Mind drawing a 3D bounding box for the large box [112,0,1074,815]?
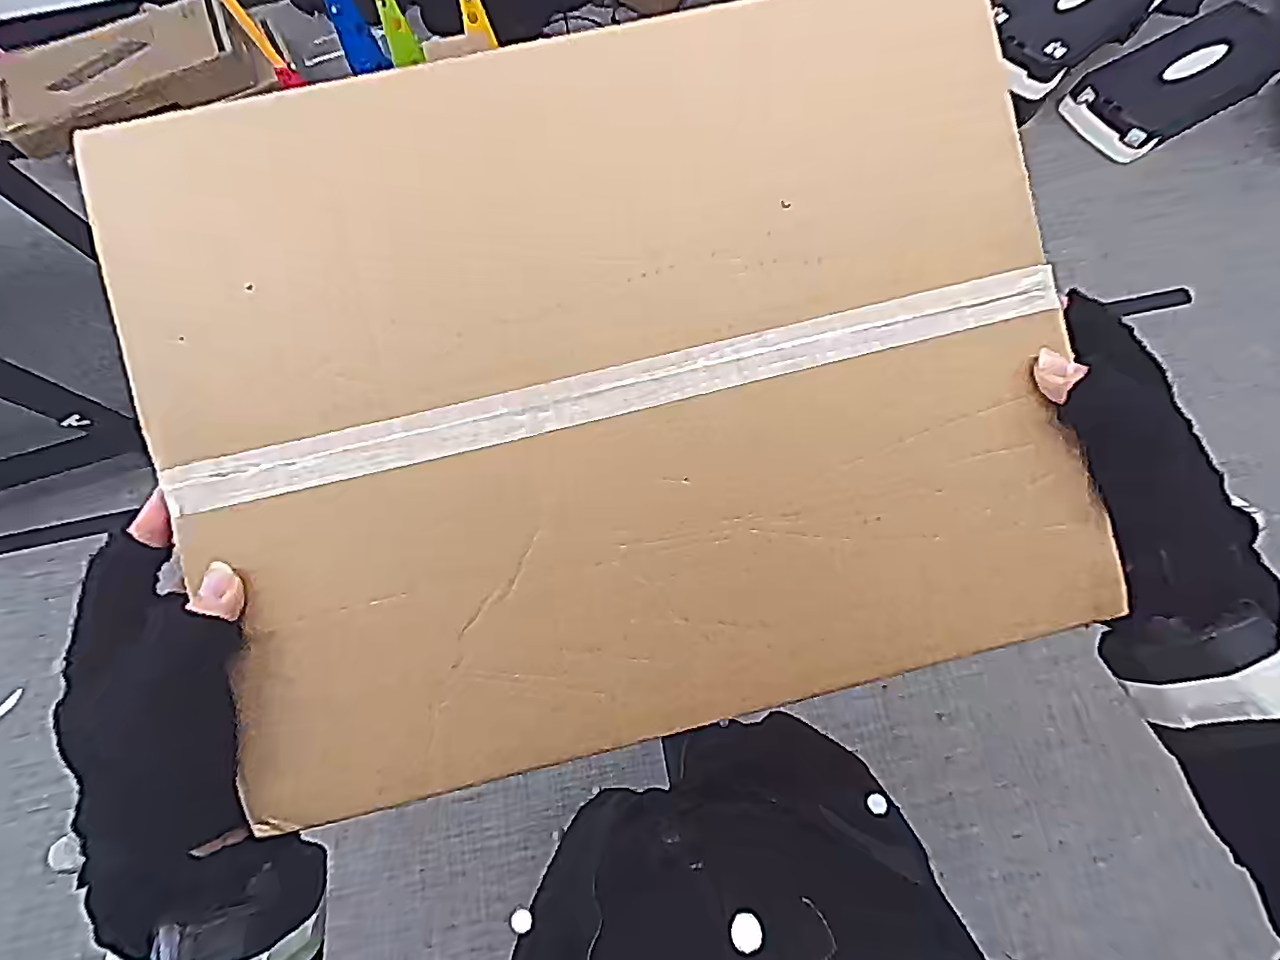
[{"bbox_3d":[-0.016,-0.043,0.402,0.408,0.320,0.320,-13,91,-3],"label":"large box"}]
